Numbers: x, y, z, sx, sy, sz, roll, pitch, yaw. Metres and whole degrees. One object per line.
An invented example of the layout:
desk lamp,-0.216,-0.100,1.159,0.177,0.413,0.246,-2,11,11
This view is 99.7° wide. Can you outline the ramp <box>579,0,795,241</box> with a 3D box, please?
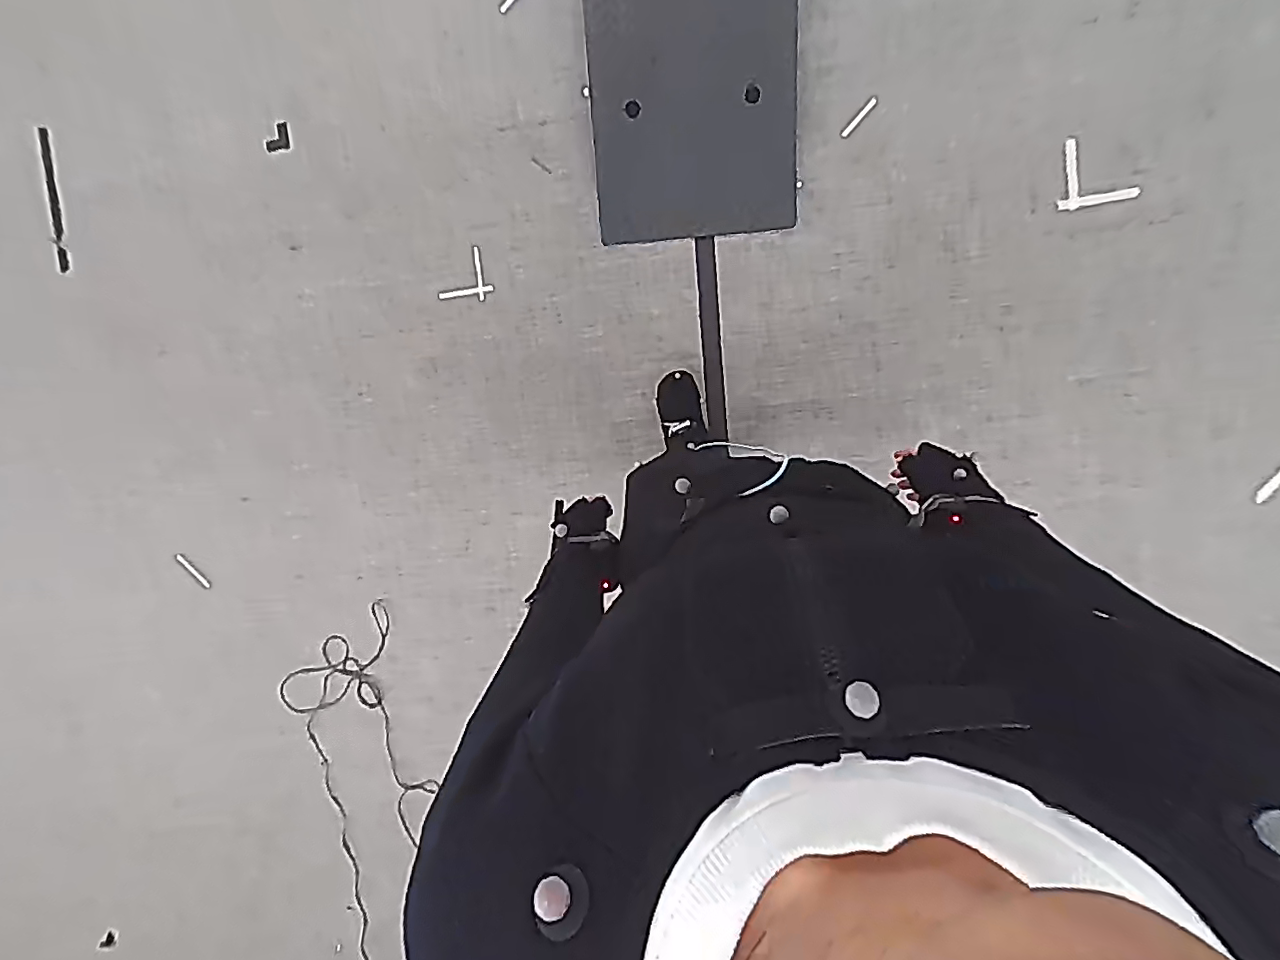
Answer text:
ramp,0.104,-1.104,1.231,0.509,0.206,0.991,-4,96,6
